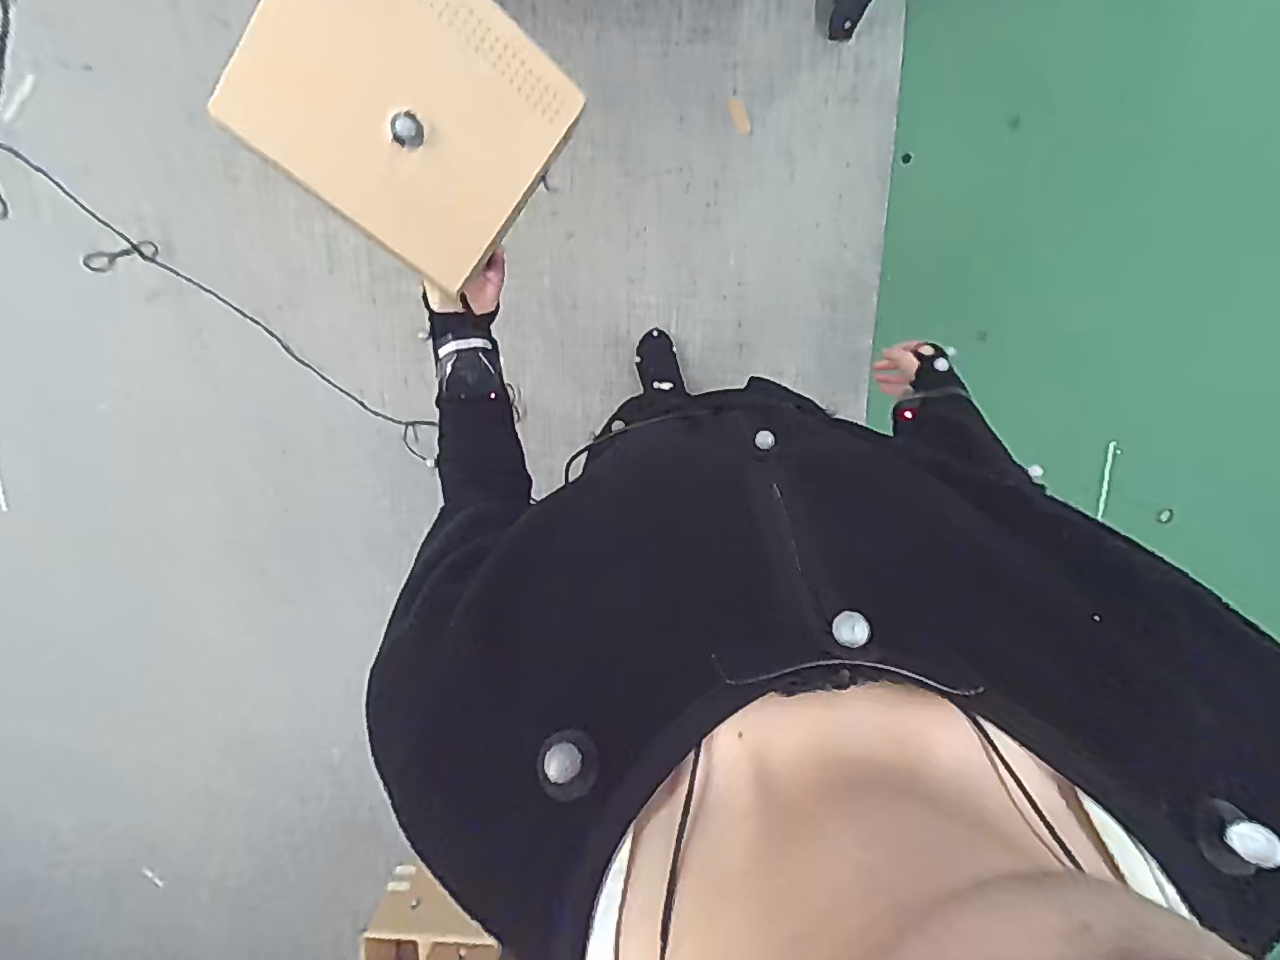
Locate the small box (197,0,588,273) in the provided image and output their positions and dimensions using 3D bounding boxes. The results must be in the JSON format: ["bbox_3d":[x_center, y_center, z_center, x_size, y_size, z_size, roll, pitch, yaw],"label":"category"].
[{"bbox_3d":[-0.164,-0.287,0.408,0.179,0.168,0.176,35,104,-23],"label":"small box"}]
